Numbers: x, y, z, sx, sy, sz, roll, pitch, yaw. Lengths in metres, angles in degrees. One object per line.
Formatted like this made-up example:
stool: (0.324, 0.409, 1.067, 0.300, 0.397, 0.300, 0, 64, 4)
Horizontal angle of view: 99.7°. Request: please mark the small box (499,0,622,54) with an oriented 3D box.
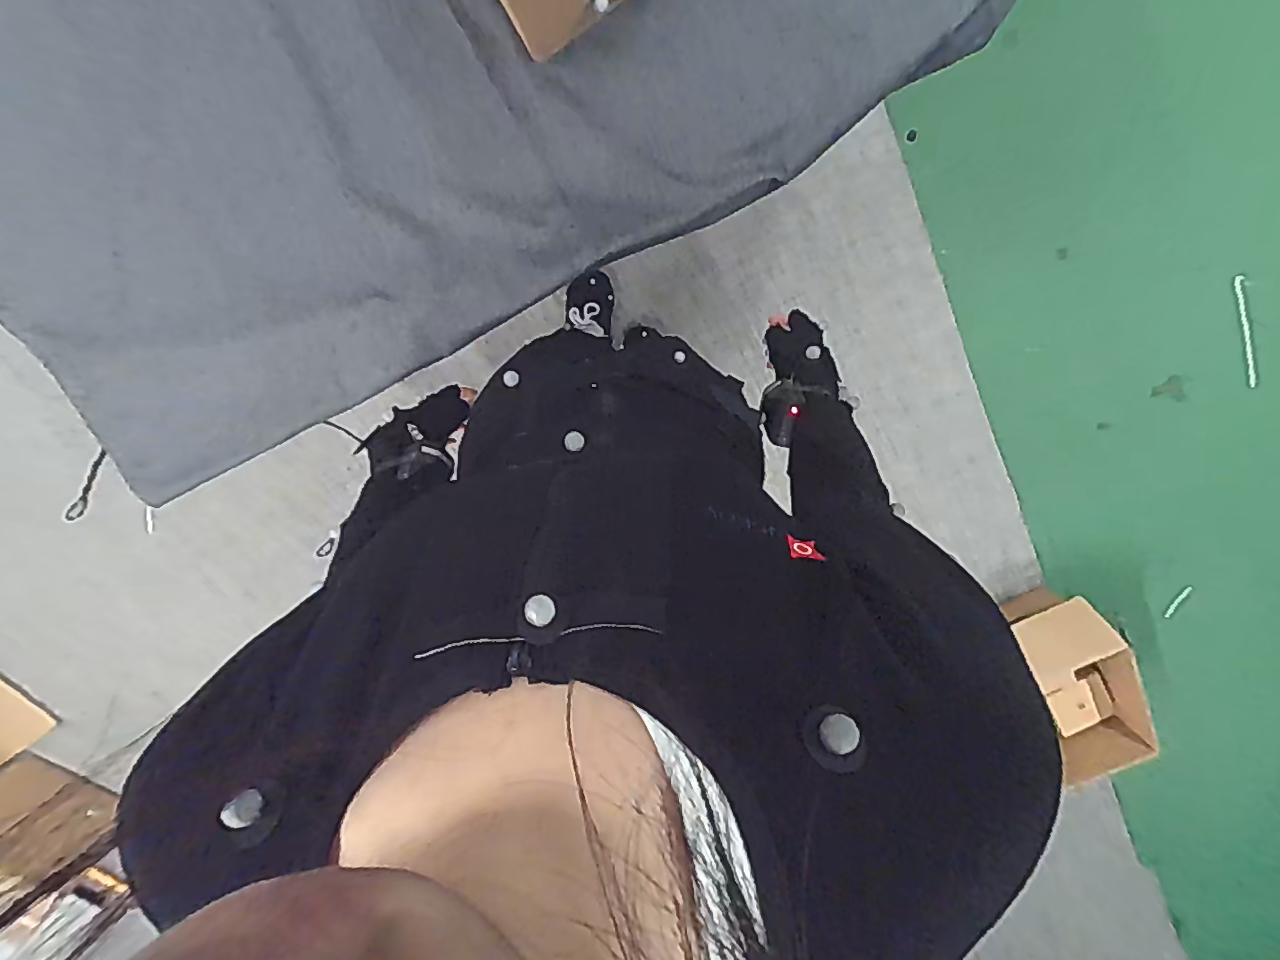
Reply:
small box: (-0.088, -0.536, 0.474, 0.168, 0.176, 0.179, -30, 108, 10)
